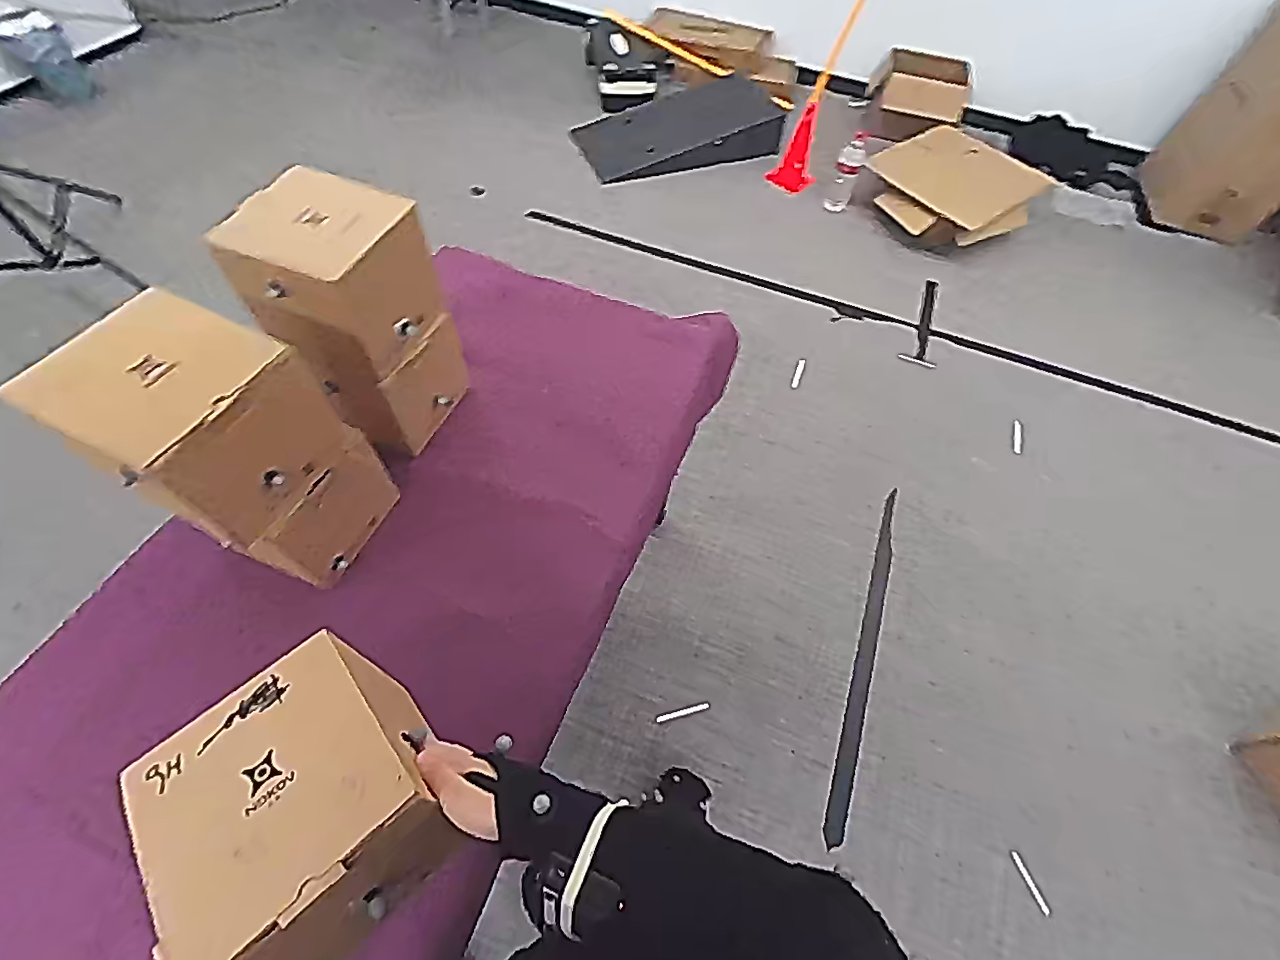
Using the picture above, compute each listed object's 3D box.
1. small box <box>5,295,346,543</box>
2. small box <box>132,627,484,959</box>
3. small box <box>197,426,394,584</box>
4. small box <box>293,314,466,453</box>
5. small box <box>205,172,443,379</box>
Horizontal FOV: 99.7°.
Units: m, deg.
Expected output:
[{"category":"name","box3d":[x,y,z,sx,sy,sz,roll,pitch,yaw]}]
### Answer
[{"category":"small box","box3d":[-0.461,-0.057,0.574,0.179,0.176,0.168,23,59,8]},{"category":"small box","box3d":[-0.260,0.266,0.459,0.168,0.176,0.179,-37,59,-22]},{"category":"small box","box3d":[-0.464,0.019,0.718,0.179,0.176,0.168,20,59,8]},{"category":"small box","box3d":[-0.399,-0.168,0.839,0.179,0.176,0.168,21,60,7]},{"category":"small box","box3d":[-0.389,-0.259,0.704,0.179,0.176,0.168,19,60,5]}]
